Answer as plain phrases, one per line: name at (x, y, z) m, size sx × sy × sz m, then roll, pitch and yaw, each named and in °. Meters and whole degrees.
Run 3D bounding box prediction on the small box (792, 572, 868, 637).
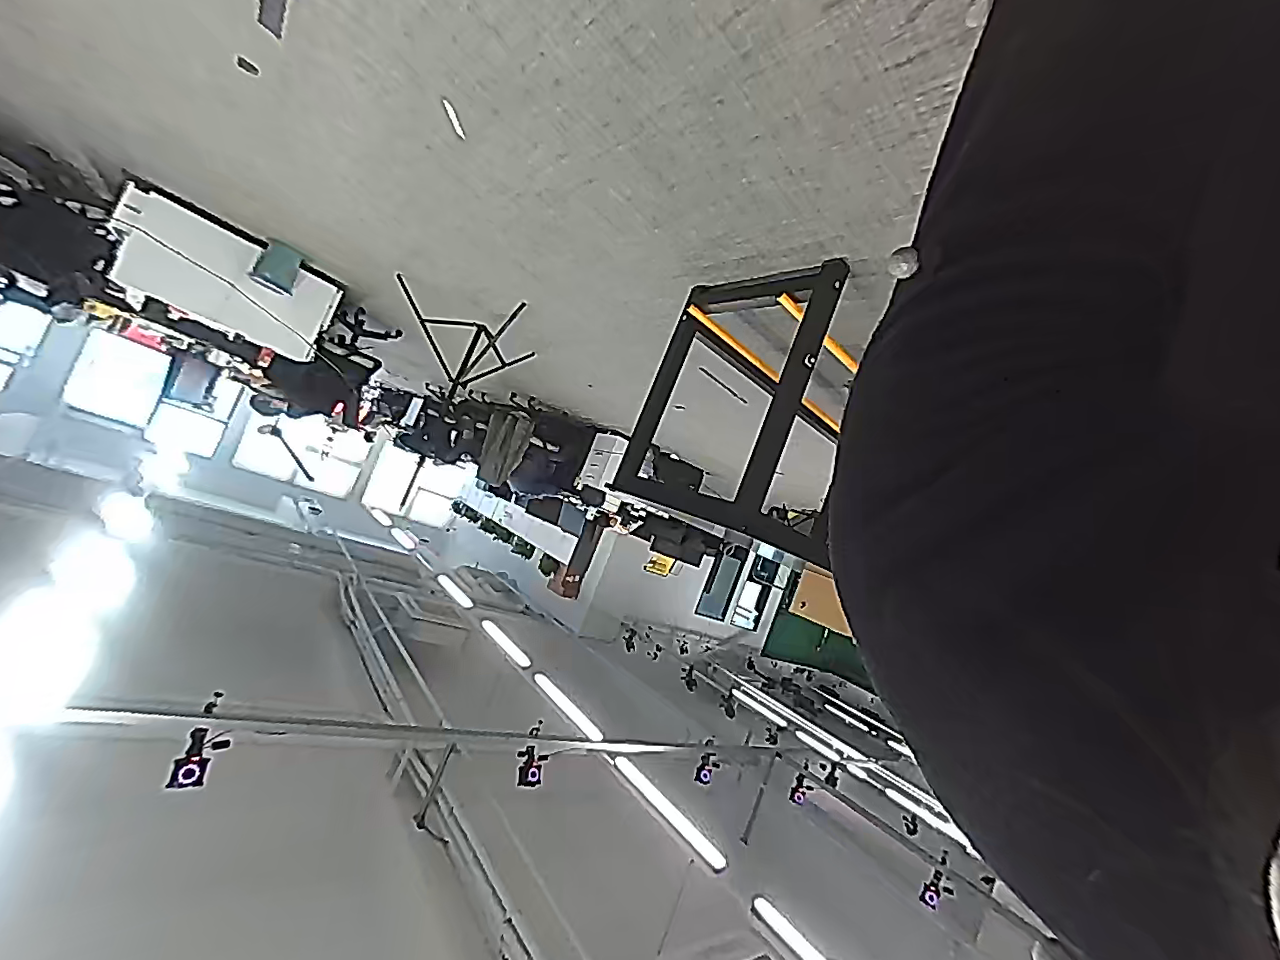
small box at (0.684, 0.441, 1.941) m, size 0.168 × 0.176 × 0.179 m, roll 25°, pitch 174°, yaw -39°
